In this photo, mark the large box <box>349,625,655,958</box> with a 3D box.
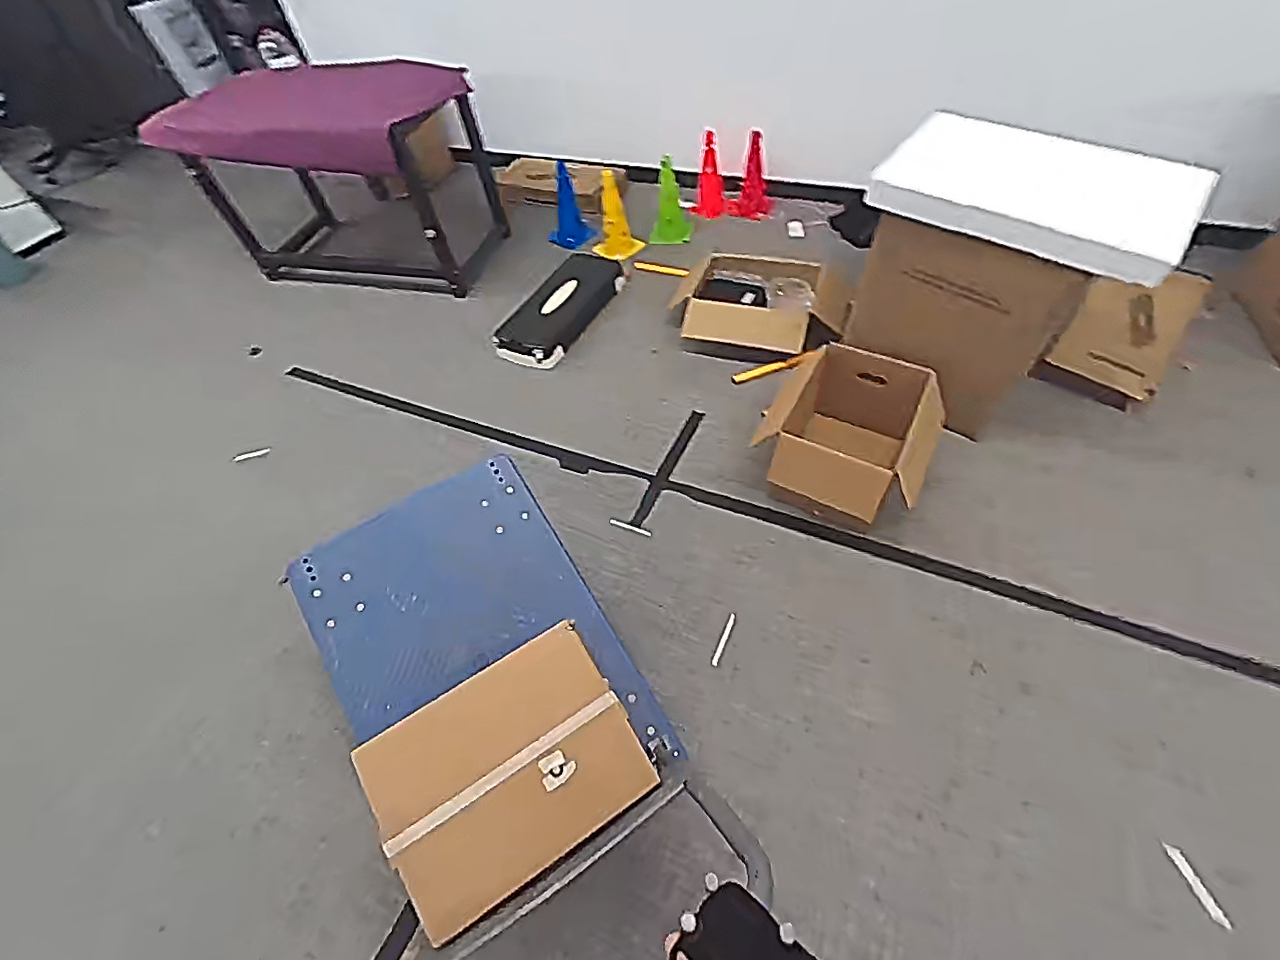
[{"bbox_3d":[-0.233,0.532,1.008,0.408,0.320,0.320,-30,75,-16],"label":"large box"}]
